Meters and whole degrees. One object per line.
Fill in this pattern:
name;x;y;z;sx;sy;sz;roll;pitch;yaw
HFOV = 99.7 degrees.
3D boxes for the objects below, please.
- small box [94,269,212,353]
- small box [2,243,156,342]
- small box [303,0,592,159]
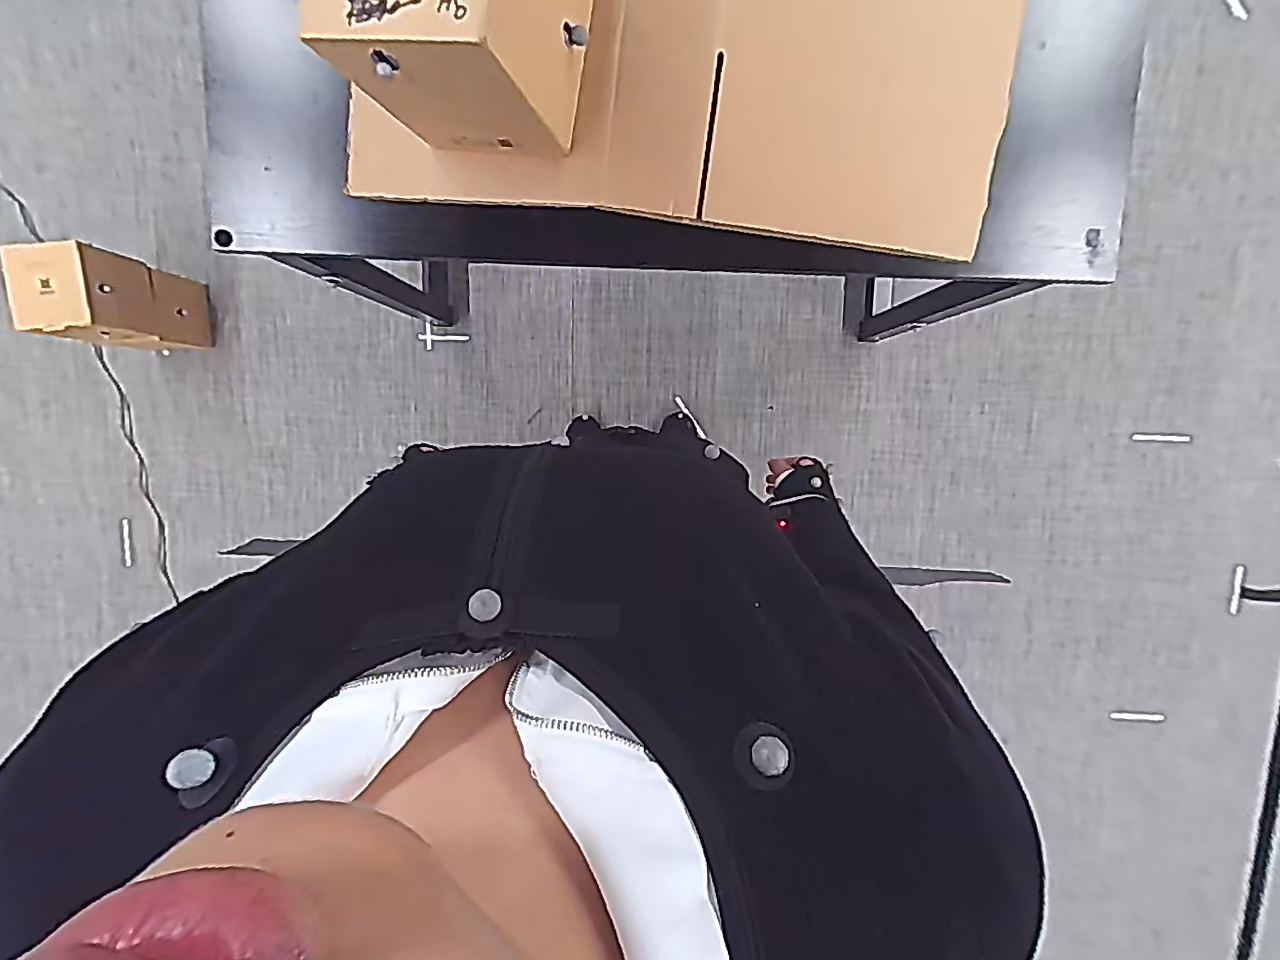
small box;-1.239;-0.423;1.376;0.168;0.176;0.179;-2;97;1
small box;-1.243;-0.411;1.214;0.168;0.176;0.179;-5;95;0
small box;-0.151;-0.419;0.474;0.168;0.176;0.179;12;97;13
